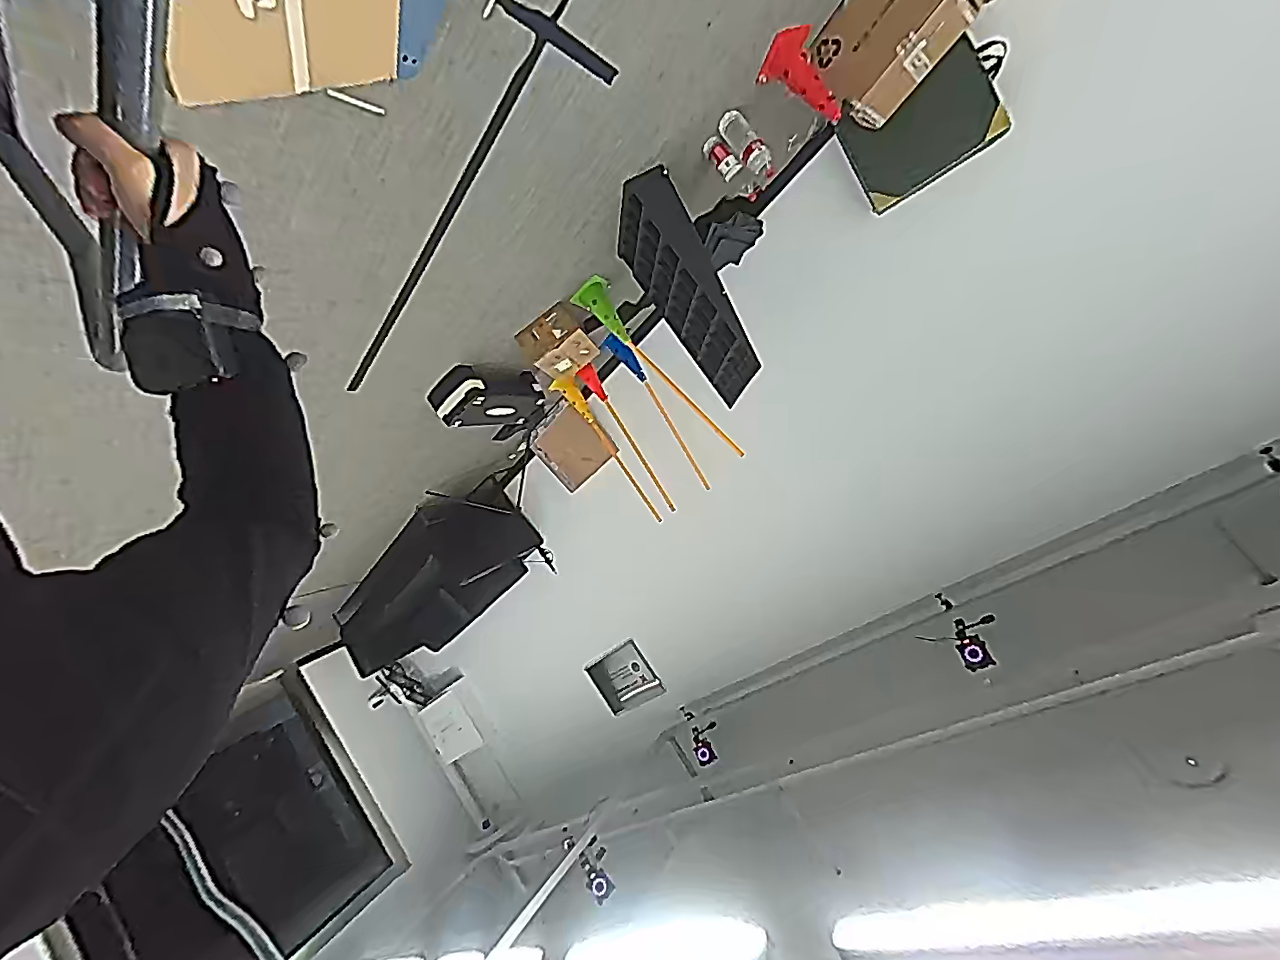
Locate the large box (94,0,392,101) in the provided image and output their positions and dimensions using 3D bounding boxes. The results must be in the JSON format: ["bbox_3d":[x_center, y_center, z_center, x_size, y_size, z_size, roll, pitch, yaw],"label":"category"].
[{"bbox_3d":[-0.508,-0.748,0.607,0.320,0.320,0.408,-39,179,-34],"label":"large box"}]
